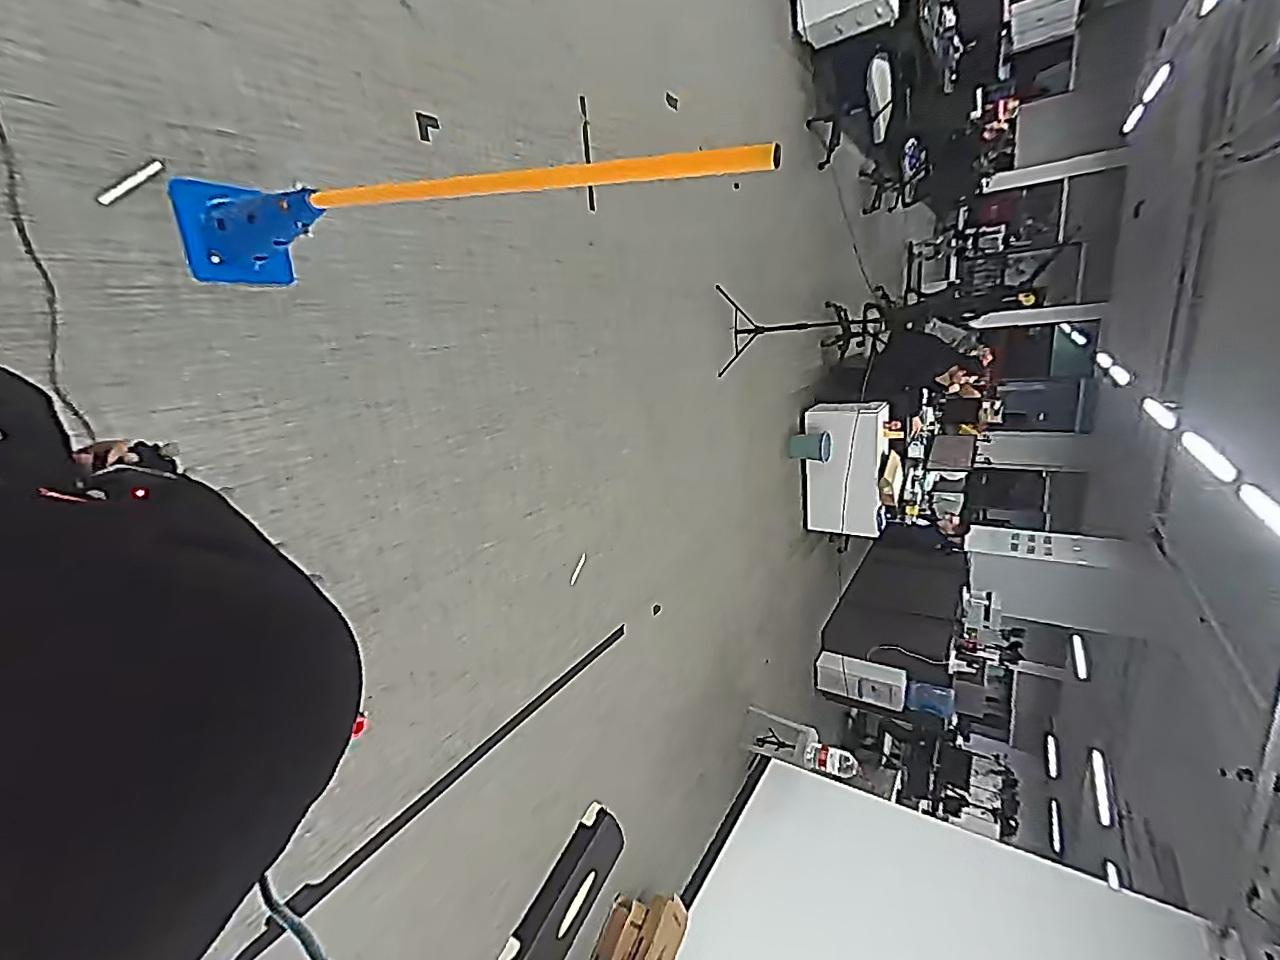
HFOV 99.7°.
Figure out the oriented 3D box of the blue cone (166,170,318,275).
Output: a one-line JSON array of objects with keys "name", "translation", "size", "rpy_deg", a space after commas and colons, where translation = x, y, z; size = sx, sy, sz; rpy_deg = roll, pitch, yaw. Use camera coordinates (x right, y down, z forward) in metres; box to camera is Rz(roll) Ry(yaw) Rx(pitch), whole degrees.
[{"name": "blue cone", "translation": [-0.743, -0.534, 1.068], "size": [0.193, 0.380, 0.192], "rpy_deg": [-22, 111, -53]}]
